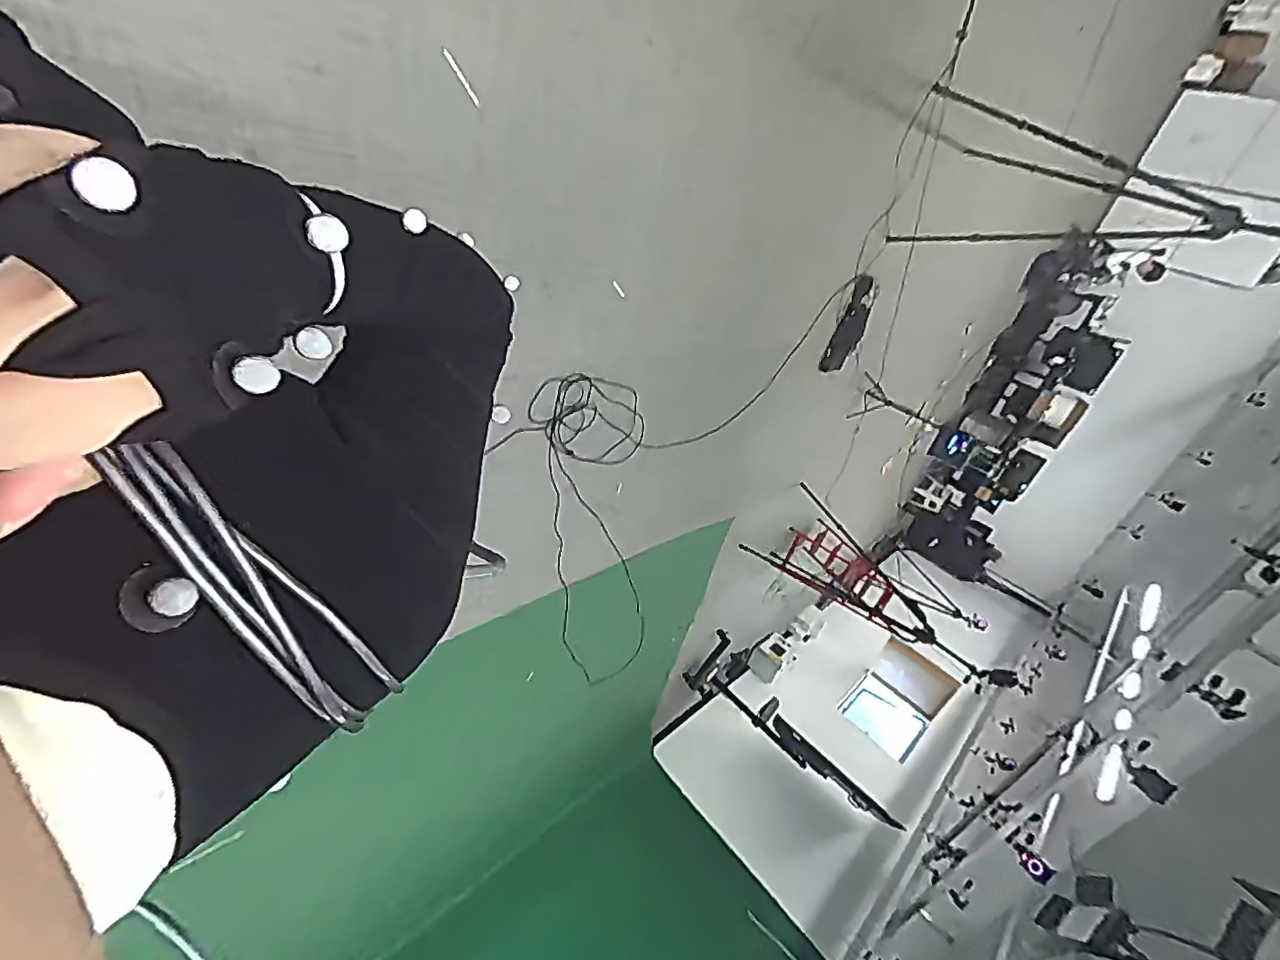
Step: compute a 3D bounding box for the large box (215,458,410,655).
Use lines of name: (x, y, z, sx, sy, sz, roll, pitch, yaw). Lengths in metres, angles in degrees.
large box: (-0.891, 0.189, 1.465, 0.320, 0.320, 0.408, 5, 117, -52)
